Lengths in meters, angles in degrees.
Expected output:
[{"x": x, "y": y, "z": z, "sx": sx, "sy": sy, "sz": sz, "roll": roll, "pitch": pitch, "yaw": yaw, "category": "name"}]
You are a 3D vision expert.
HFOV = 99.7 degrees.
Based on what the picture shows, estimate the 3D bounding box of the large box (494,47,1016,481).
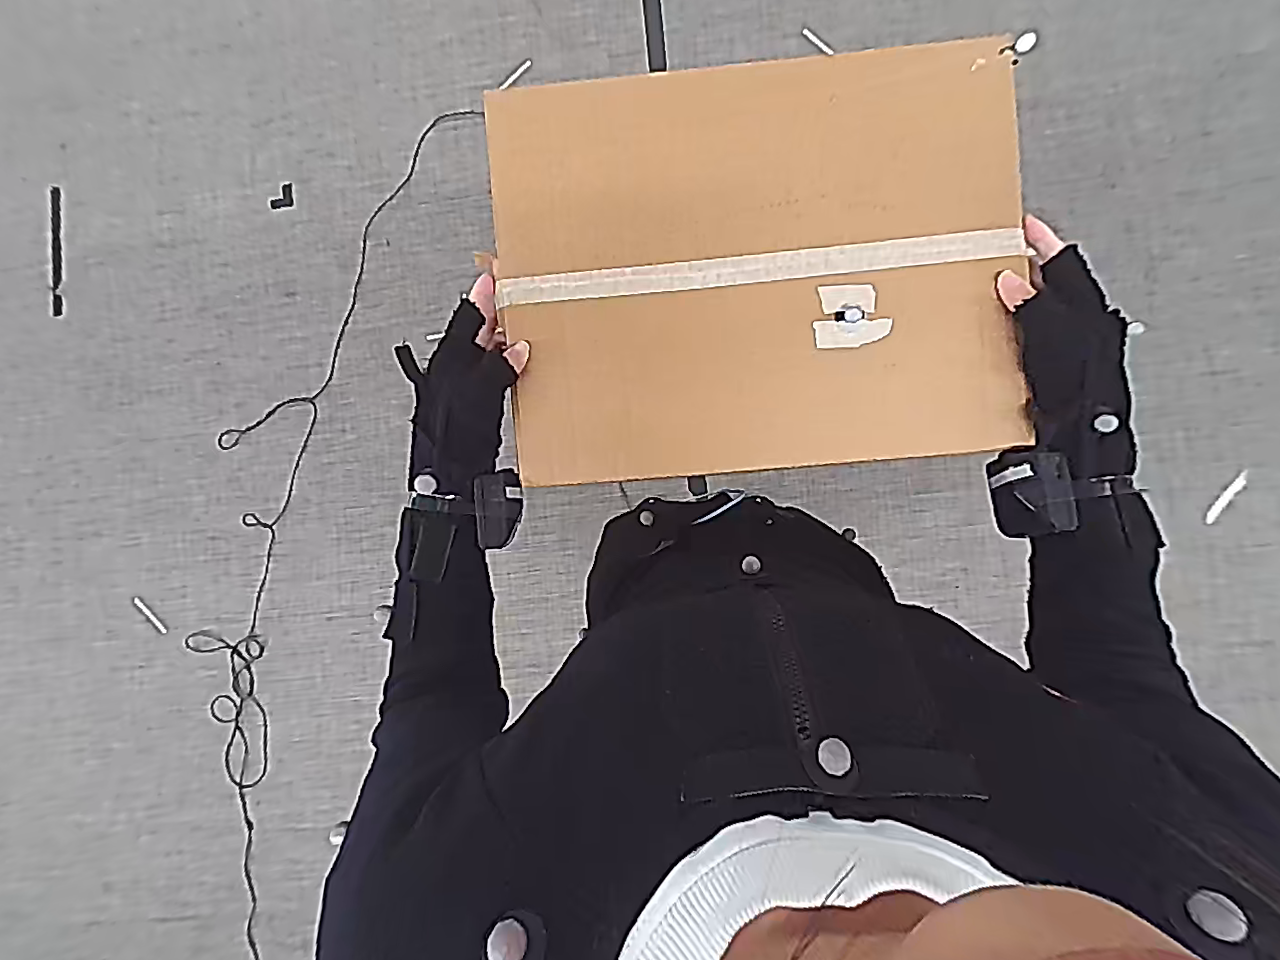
[{"x": 0.094, "y": -0.176, "z": 0.584, "sx": 0.408, "sy": 0.320, "sz": 0.320, "roll": -5, "pitch": 93, "yaw": 1, "category": "large box"}]
